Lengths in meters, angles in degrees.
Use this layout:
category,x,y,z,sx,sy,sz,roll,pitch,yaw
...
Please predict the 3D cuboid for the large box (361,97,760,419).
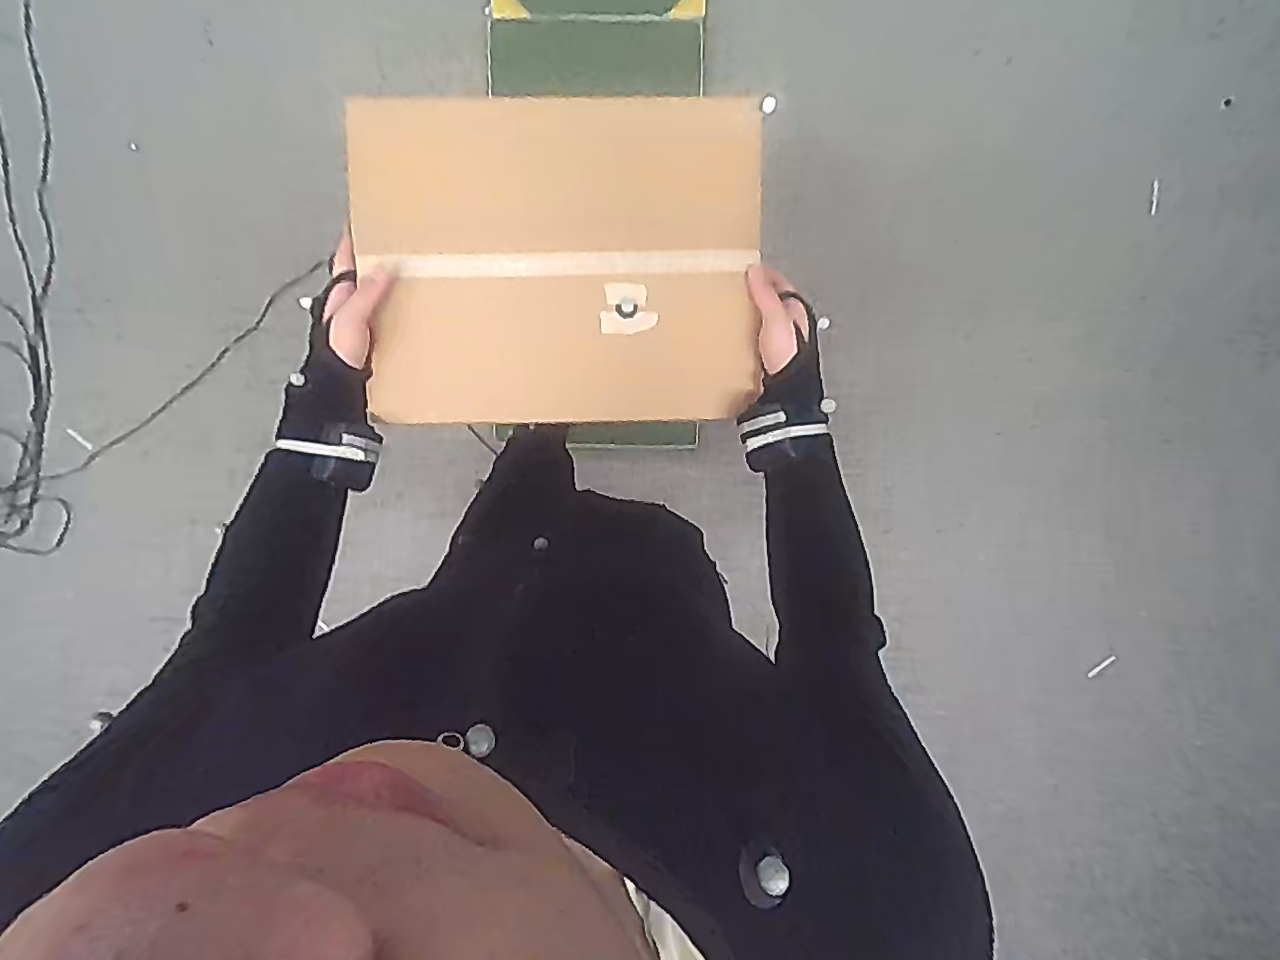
category,x,y,z,sx,sy,sz,roll,pitch,yaw
large box,-0.081,-0.242,0.703,0.408,0.320,0.320,-1,97,-2
